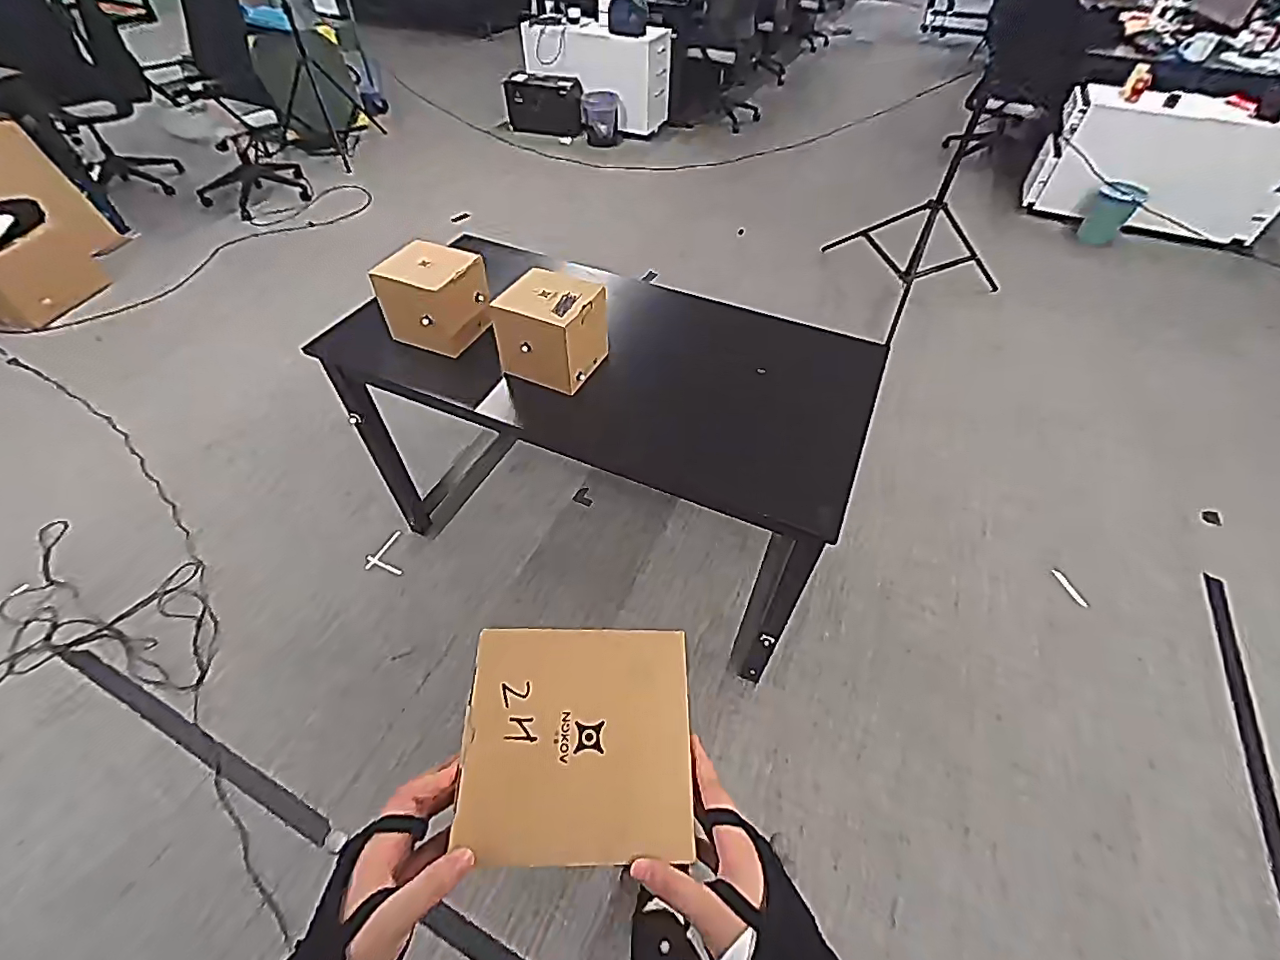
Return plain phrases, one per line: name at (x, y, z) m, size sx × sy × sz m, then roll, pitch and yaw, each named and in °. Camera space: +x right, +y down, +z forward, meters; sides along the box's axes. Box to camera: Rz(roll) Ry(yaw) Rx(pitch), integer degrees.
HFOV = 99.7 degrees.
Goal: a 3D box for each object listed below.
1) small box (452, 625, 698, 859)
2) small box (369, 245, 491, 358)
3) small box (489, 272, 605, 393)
small box at (-0.051, 0.237, 0.489) m, size 0.179 × 0.176 × 0.168 m, roll 1°, pitch 58°, yaw -3°
small box at (-0.456, -0.396, 1.212) m, size 0.179 × 0.176 × 0.168 m, roll 17°, pitch 51°, yaw 14°
small box at (-0.185, -0.307, 1.140) m, size 0.179 × 0.176 × 0.168 m, roll 20°, pitch 52°, yaw 16°
